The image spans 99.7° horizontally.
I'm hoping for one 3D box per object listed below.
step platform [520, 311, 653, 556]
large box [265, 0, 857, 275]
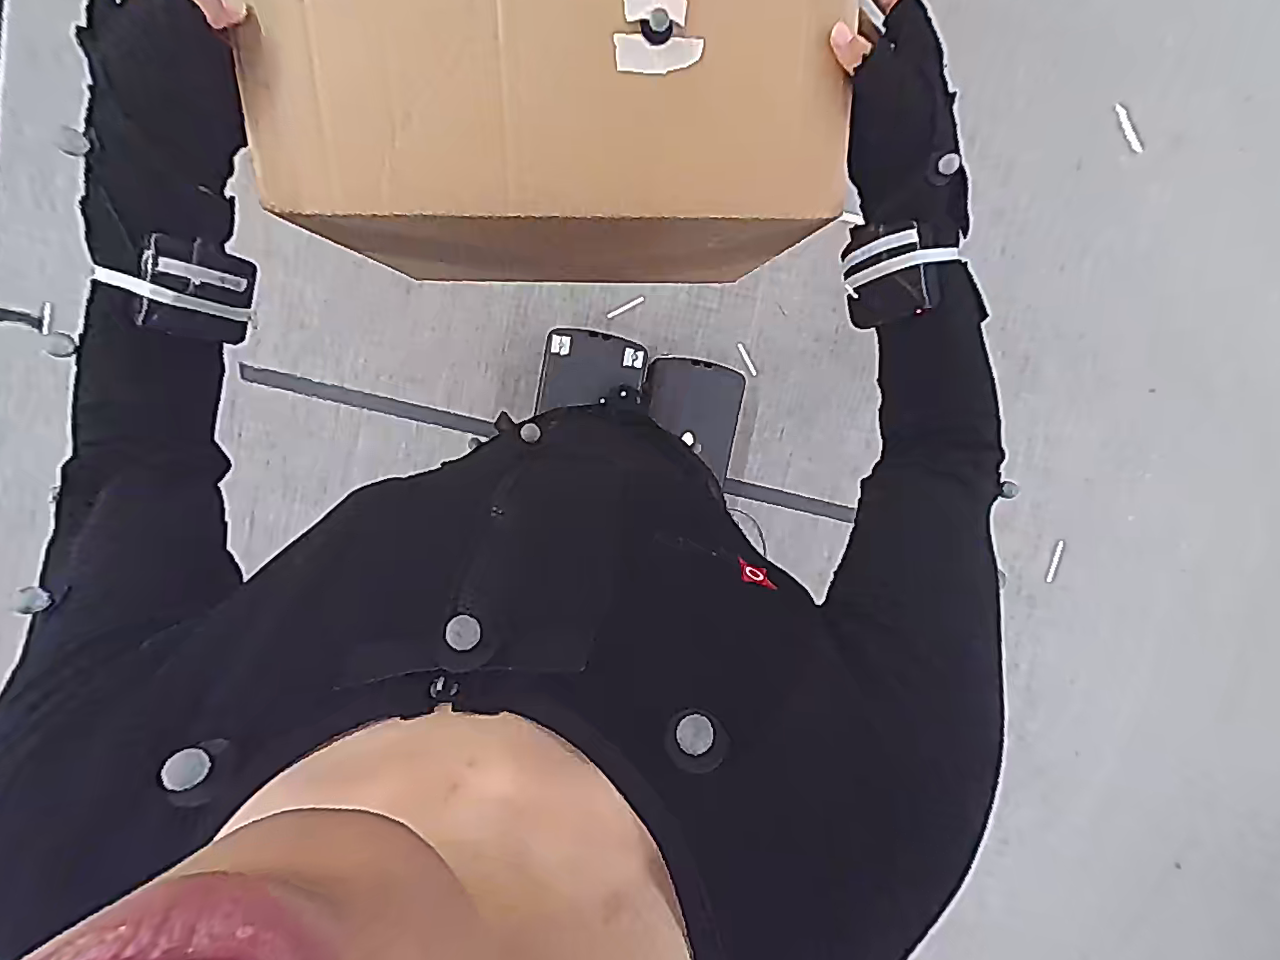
[{"bbox_3d":[-0.156,-0.127,1.554,0.286,0.204,0.684,10,96,-4],"label":"step platform"},{"bbox_3d":[-0.059,-0.380,0.502,0.408,0.320,0.320,-2,103,-5],"label":"large box"}]
